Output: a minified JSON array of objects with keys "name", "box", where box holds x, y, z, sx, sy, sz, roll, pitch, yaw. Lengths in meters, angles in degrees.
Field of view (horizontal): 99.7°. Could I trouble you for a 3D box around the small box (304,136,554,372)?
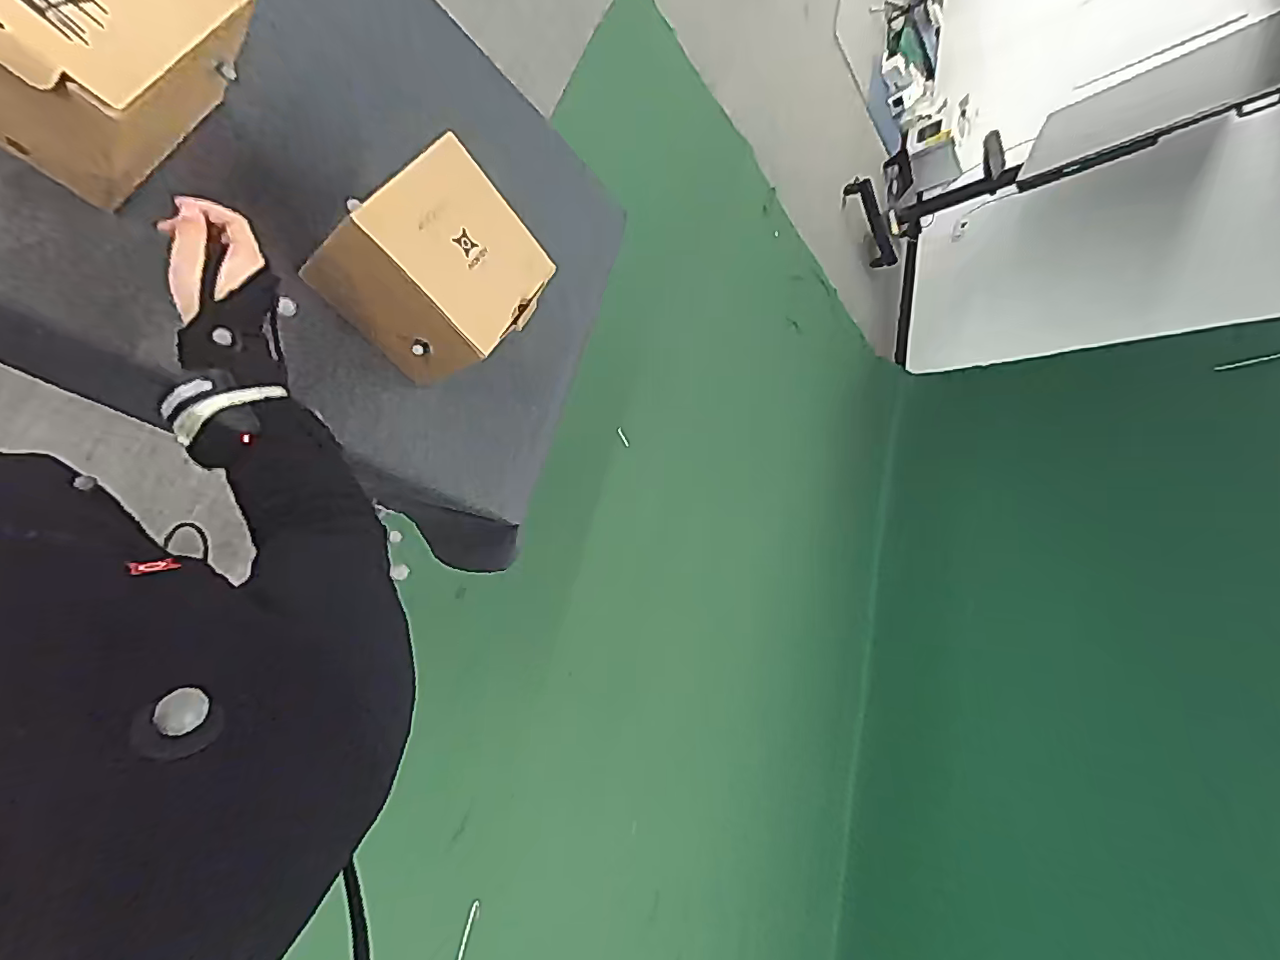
[{"name":"small box","box":[-0.242,-0.245,0.632,0.179,0.176,0.168,48,54,-33]}]
